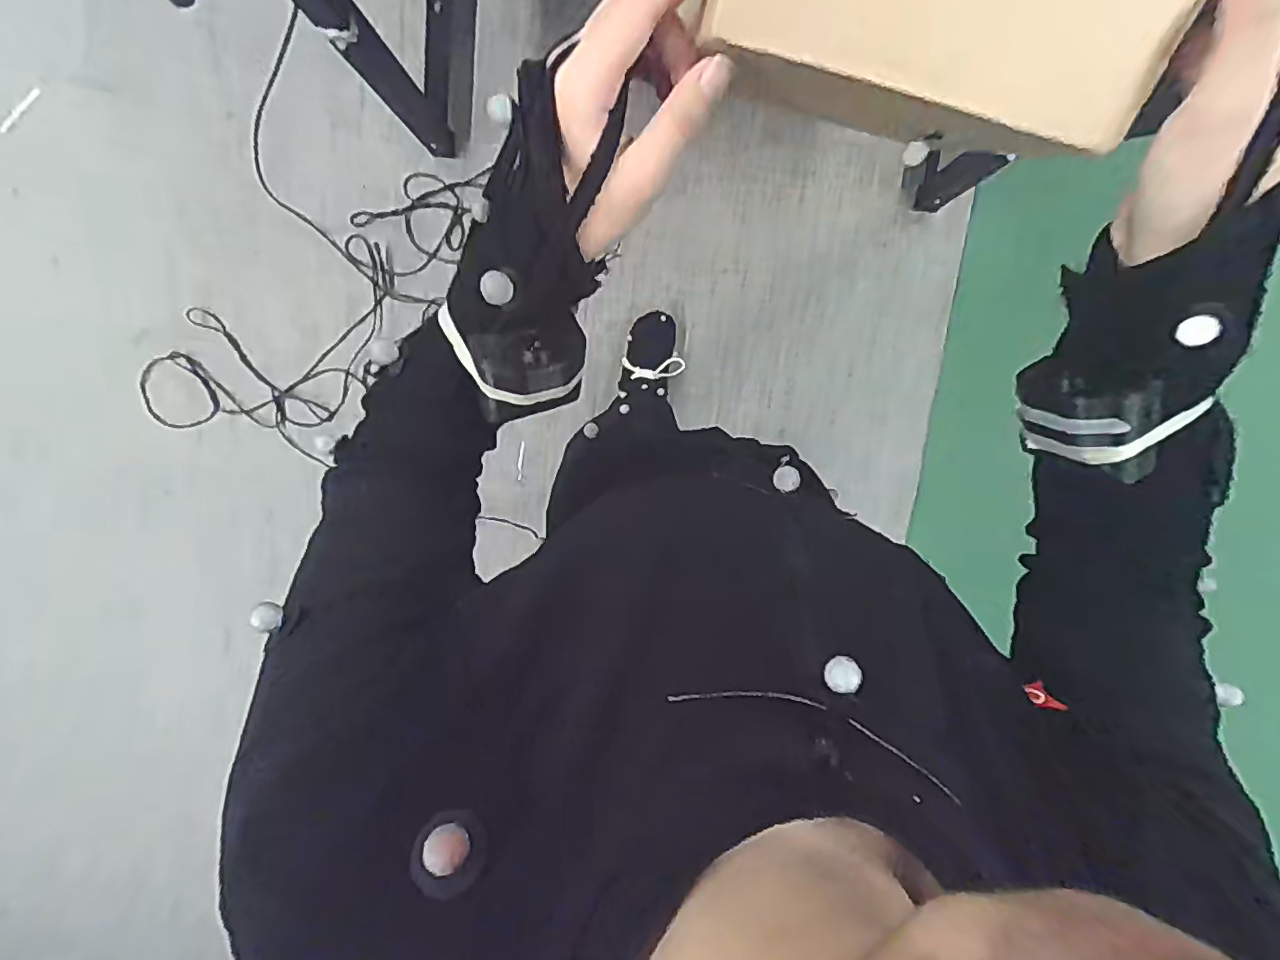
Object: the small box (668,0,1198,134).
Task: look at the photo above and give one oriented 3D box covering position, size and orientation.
[{"bbox_3d":[0.119,-0.260,0.225,0.179,0.176,0.168,8,121,-8],"label":"small box"}]
